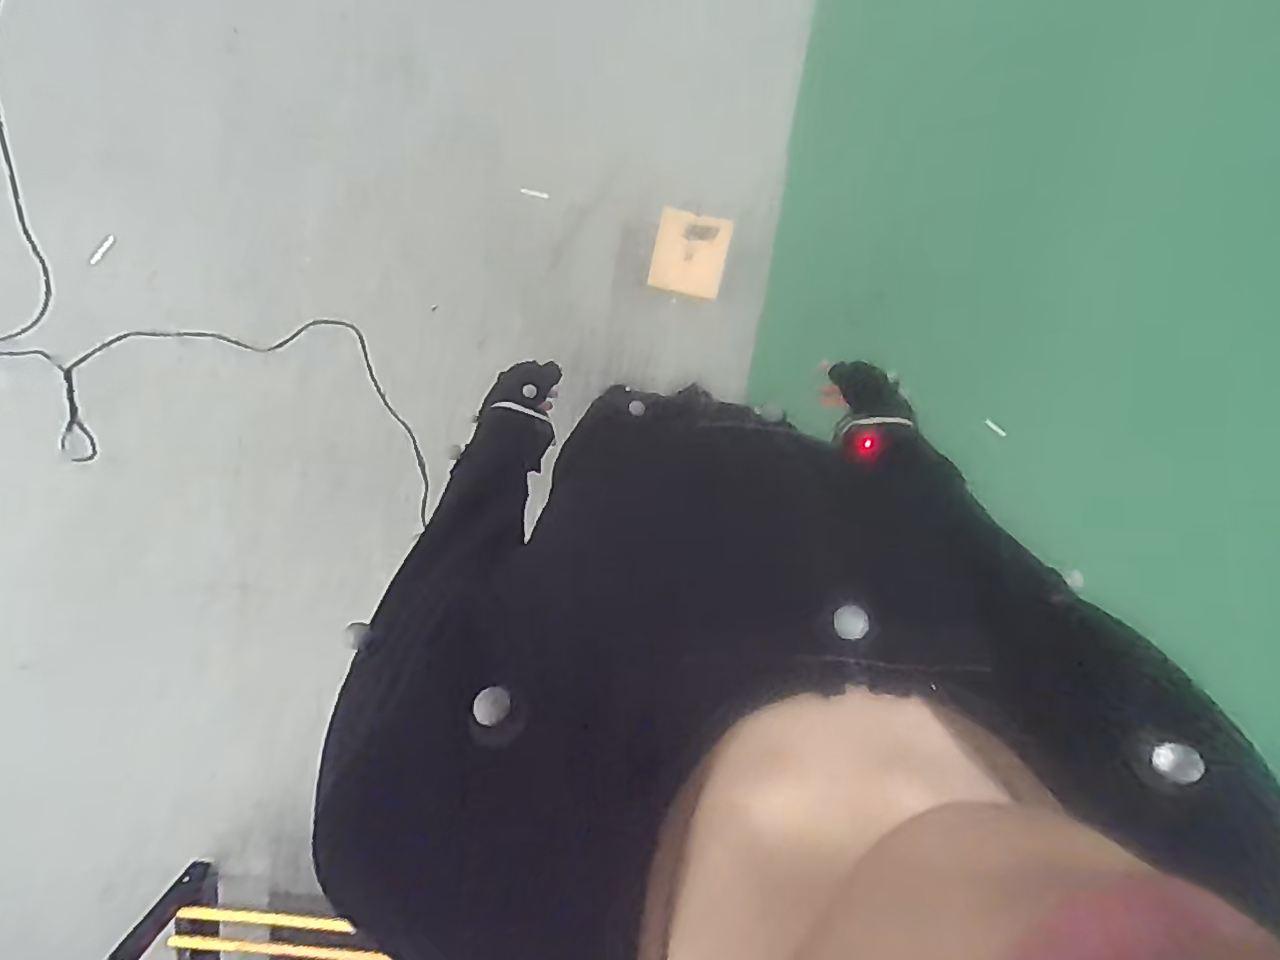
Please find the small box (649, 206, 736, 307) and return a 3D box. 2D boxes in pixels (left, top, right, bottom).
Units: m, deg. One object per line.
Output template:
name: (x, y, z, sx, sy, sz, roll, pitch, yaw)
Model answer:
small box: (0.117, -0.525, 1.294, 0.168, 0.176, 0.179, 12, 102, -3)
